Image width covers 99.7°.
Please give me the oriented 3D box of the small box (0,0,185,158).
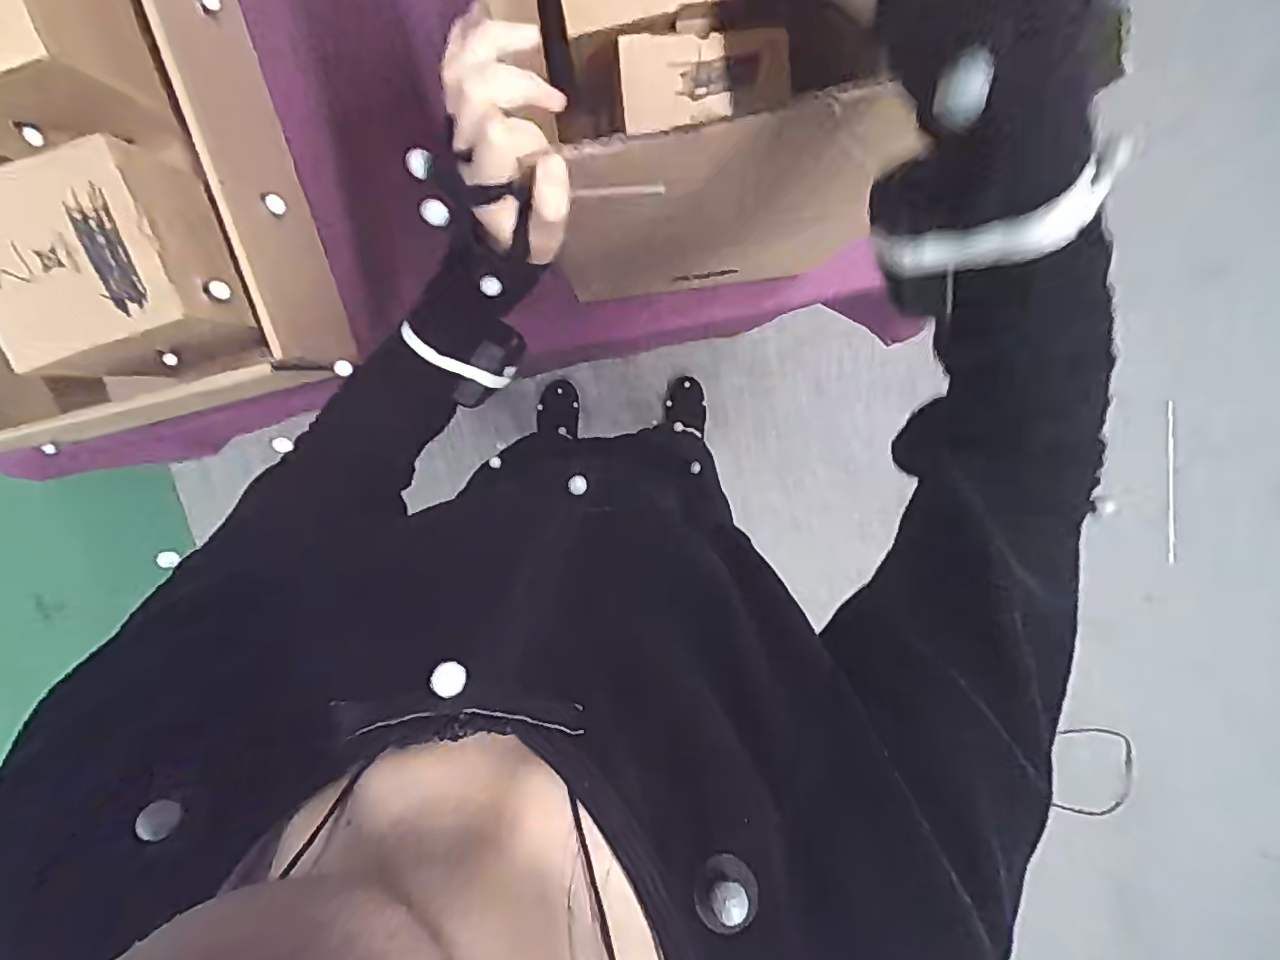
[{"bbox_3d":[-0.607,-0.443,0.526,0.168,0.176,0.179,-16,101,2],"label":"small box"}]
